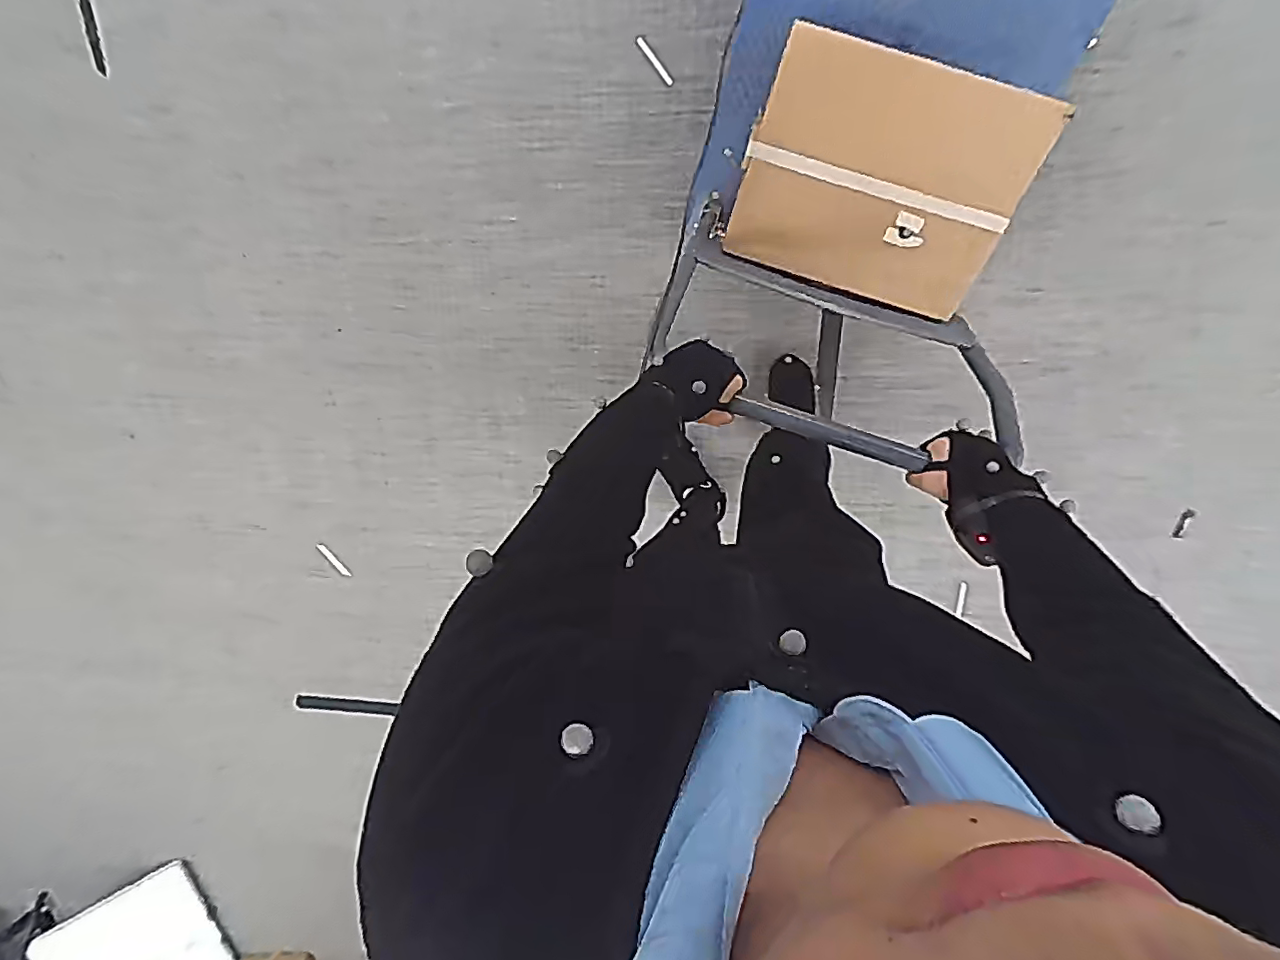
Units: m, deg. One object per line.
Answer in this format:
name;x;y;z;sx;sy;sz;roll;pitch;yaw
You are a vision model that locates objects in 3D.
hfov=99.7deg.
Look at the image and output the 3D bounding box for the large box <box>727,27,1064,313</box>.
large box;0.396;-0.543;0.966;0.408;0.320;0.320;18;126;0
